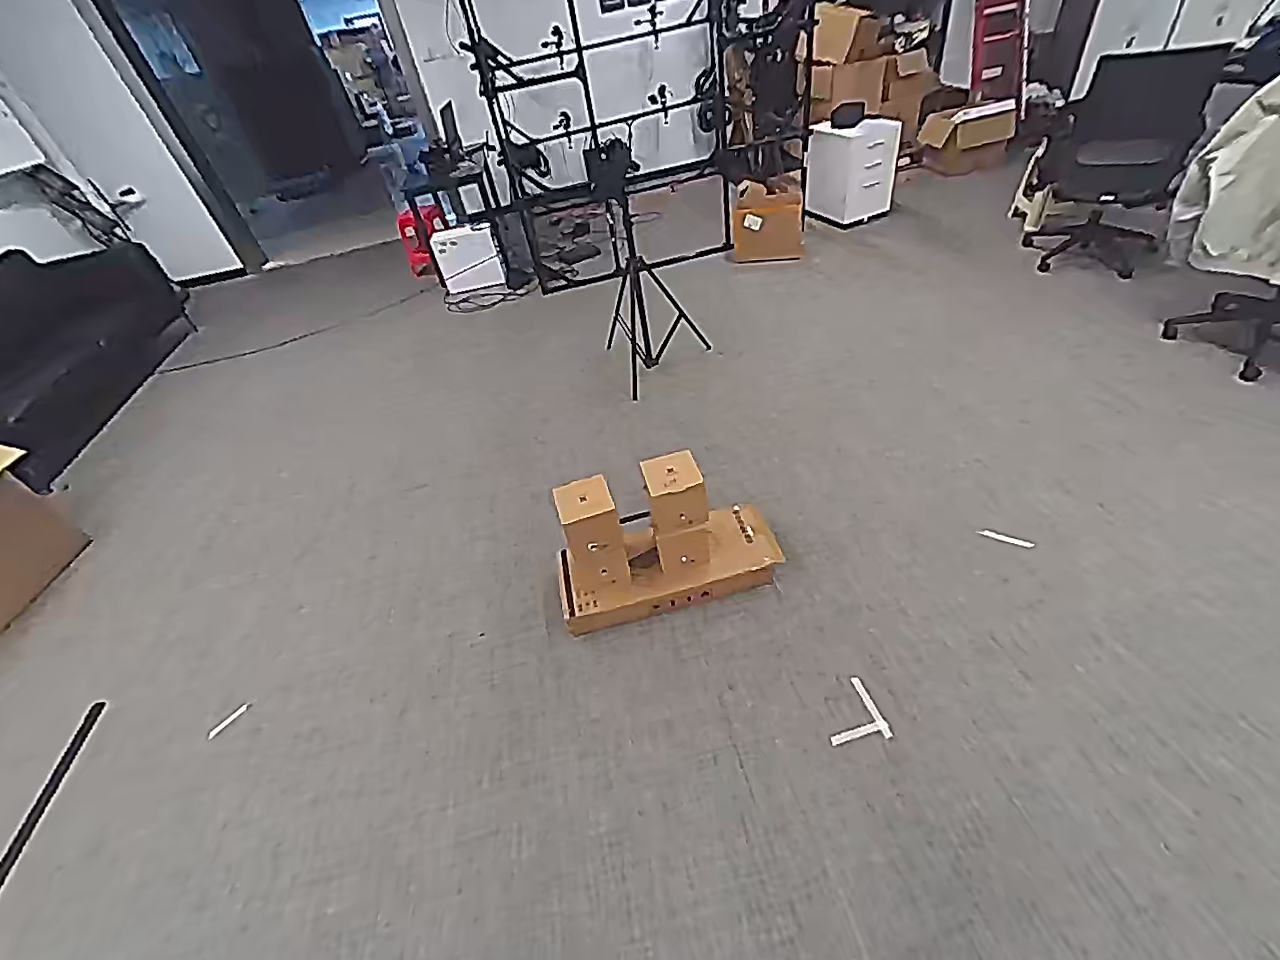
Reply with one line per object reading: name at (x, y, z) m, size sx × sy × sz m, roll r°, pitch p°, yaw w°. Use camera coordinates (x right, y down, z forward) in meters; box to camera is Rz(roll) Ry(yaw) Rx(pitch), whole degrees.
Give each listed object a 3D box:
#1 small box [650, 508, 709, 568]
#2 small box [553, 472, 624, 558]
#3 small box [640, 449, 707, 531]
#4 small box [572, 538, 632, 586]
small box at (0.130, 0.165, 1.804) m, size 0.168 × 0.176 × 0.179 m, roll -13°, pitch 42°, yaw 0°
small box at (-0.158, 0.111, 1.682) m, size 0.168 × 0.176 × 0.179 m, roll -19°, pitch 42°, yaw -7°
small box at (0.106, 0.032, 1.706) m, size 0.168 × 0.176 × 0.179 m, roll -15°, pitch 41°, yaw -3°
small box at (-0.130, 0.231, 1.789) m, size 0.168 × 0.176 × 0.179 m, roll -14°, pitch 42°, yaw -2°
